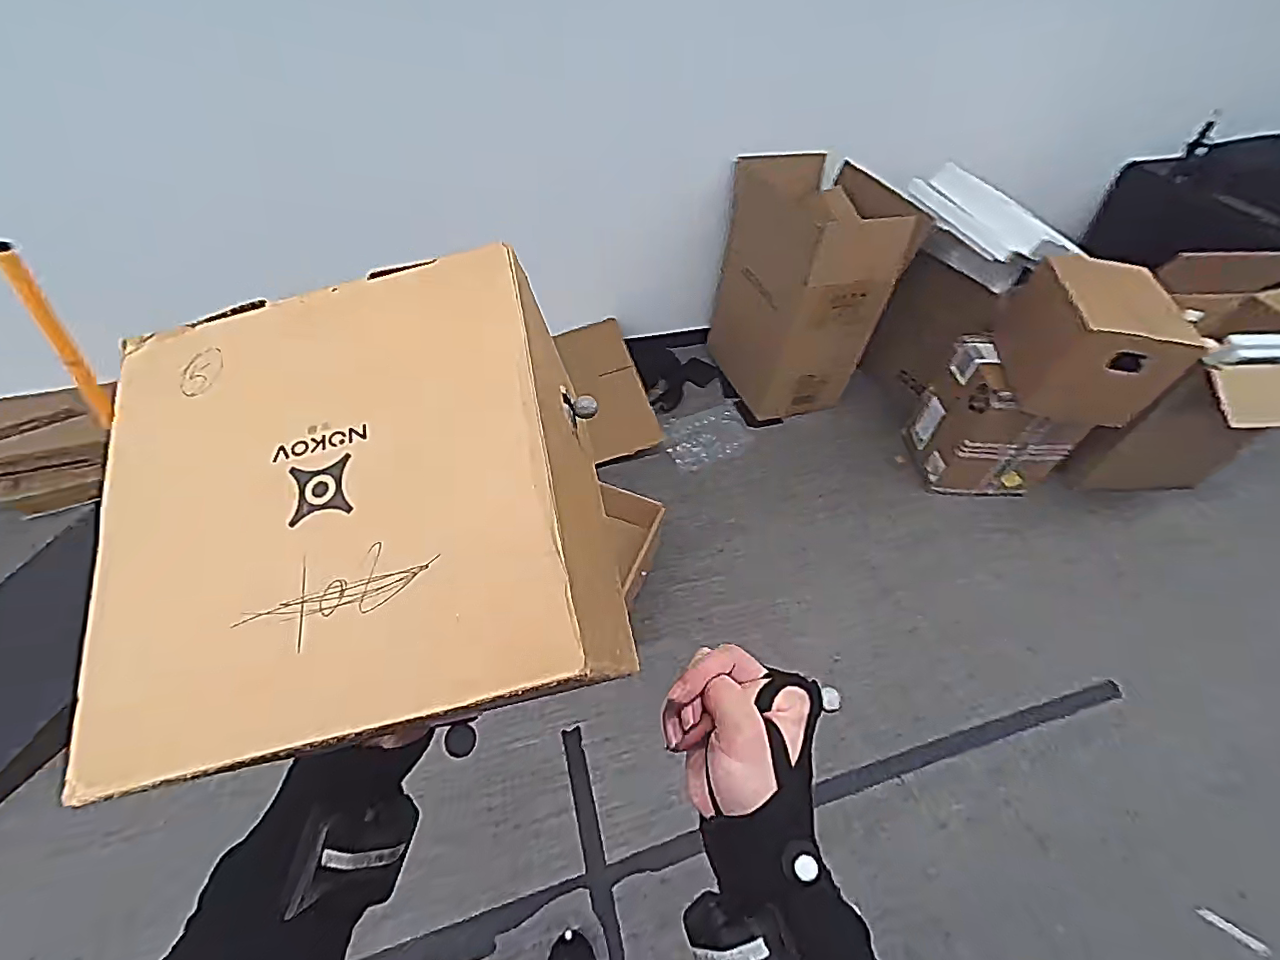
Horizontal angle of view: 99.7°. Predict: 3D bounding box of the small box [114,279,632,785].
[{"bbox_3d":[-0.105,0.034,0.284,0.168,0.176,0.179,-13,70,1],"label":"small box"}]
